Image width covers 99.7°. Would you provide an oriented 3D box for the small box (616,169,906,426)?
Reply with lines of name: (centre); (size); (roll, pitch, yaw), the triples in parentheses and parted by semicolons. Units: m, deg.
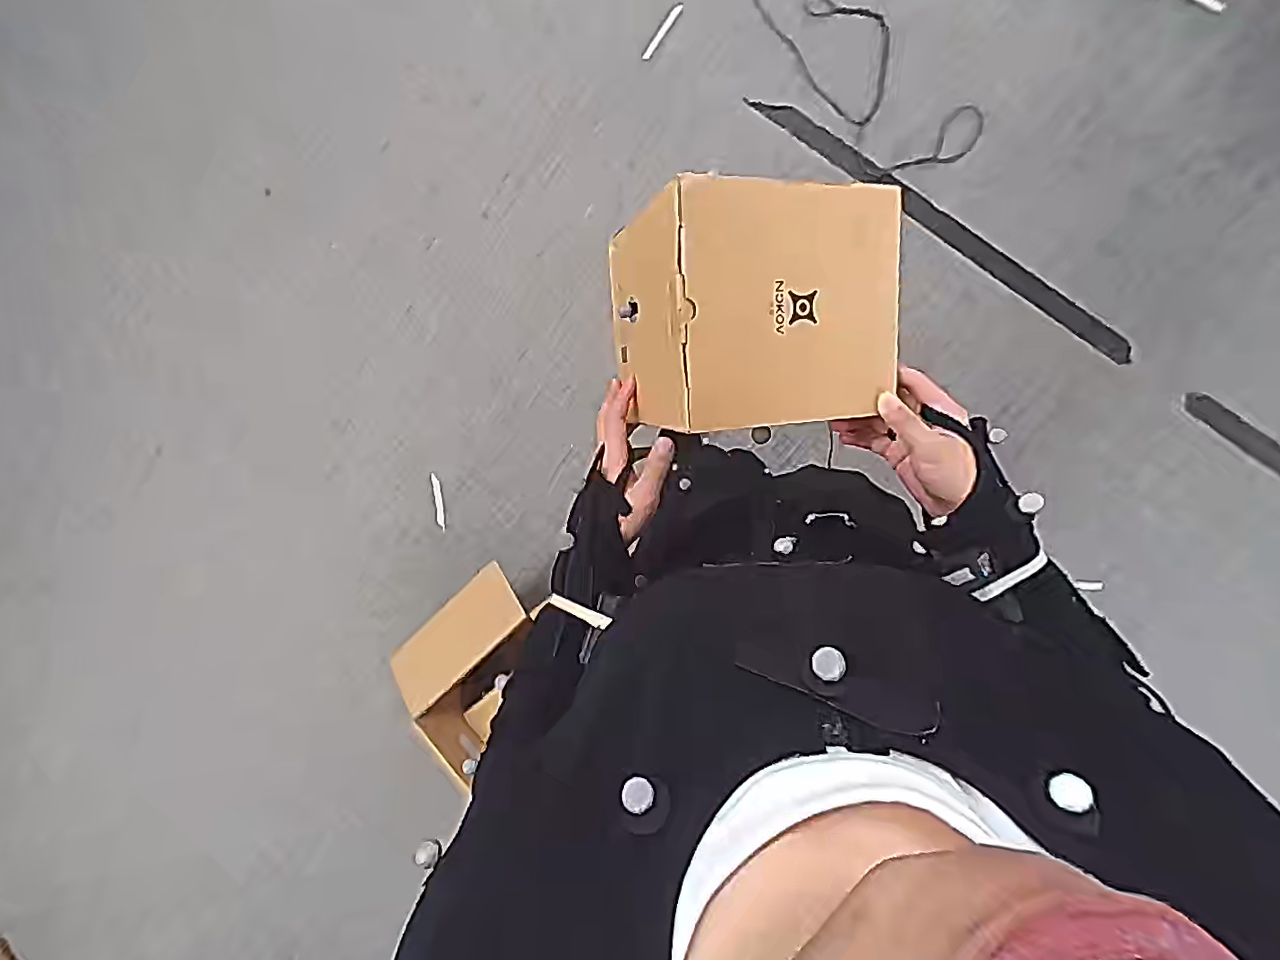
small box: (0.089, -0.139, 0.456); (0.179, 0.176, 0.168); (-6, 101, -17)
